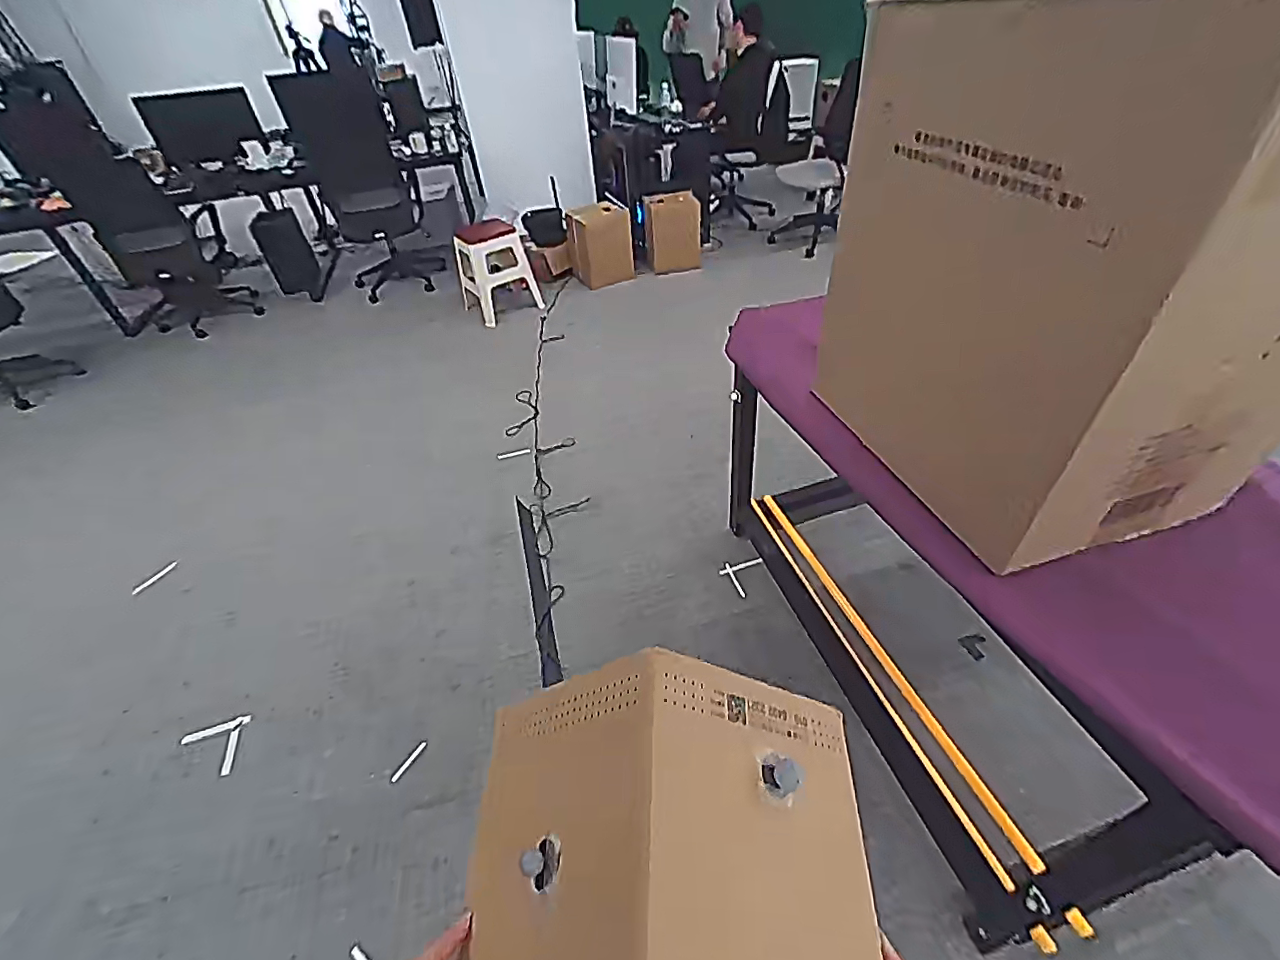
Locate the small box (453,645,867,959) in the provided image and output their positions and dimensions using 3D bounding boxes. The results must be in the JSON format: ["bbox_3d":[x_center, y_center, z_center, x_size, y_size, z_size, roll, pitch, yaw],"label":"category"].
[{"bbox_3d":[0.014,0.220,0.326,0.168,0.179,0.176,28,45,-29],"label":"small box"}]
